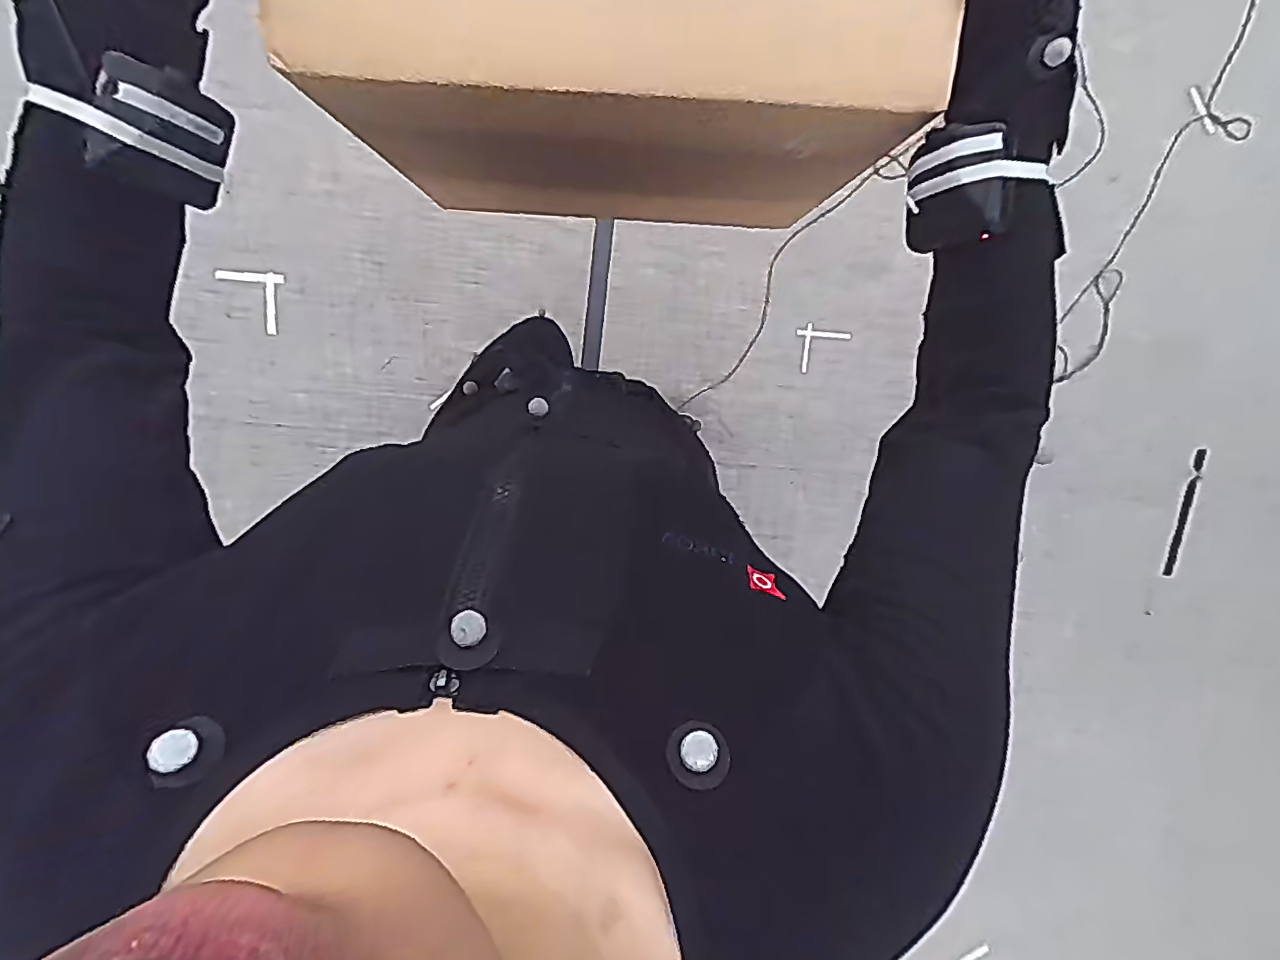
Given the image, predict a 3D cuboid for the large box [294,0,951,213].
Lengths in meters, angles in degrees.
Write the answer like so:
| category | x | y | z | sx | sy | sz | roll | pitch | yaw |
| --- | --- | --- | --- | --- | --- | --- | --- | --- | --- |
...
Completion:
| category | x | y | z | sx | sy | sz | roll | pitch | yaw |
| --- | --- | --- | --- | --- | --- | --- | --- | --- | --- |
| large box | -0.012 | -0.428 | 0.446 | 0.408 | 0.320 | 0.320 | 1 | 104 | -3 |
